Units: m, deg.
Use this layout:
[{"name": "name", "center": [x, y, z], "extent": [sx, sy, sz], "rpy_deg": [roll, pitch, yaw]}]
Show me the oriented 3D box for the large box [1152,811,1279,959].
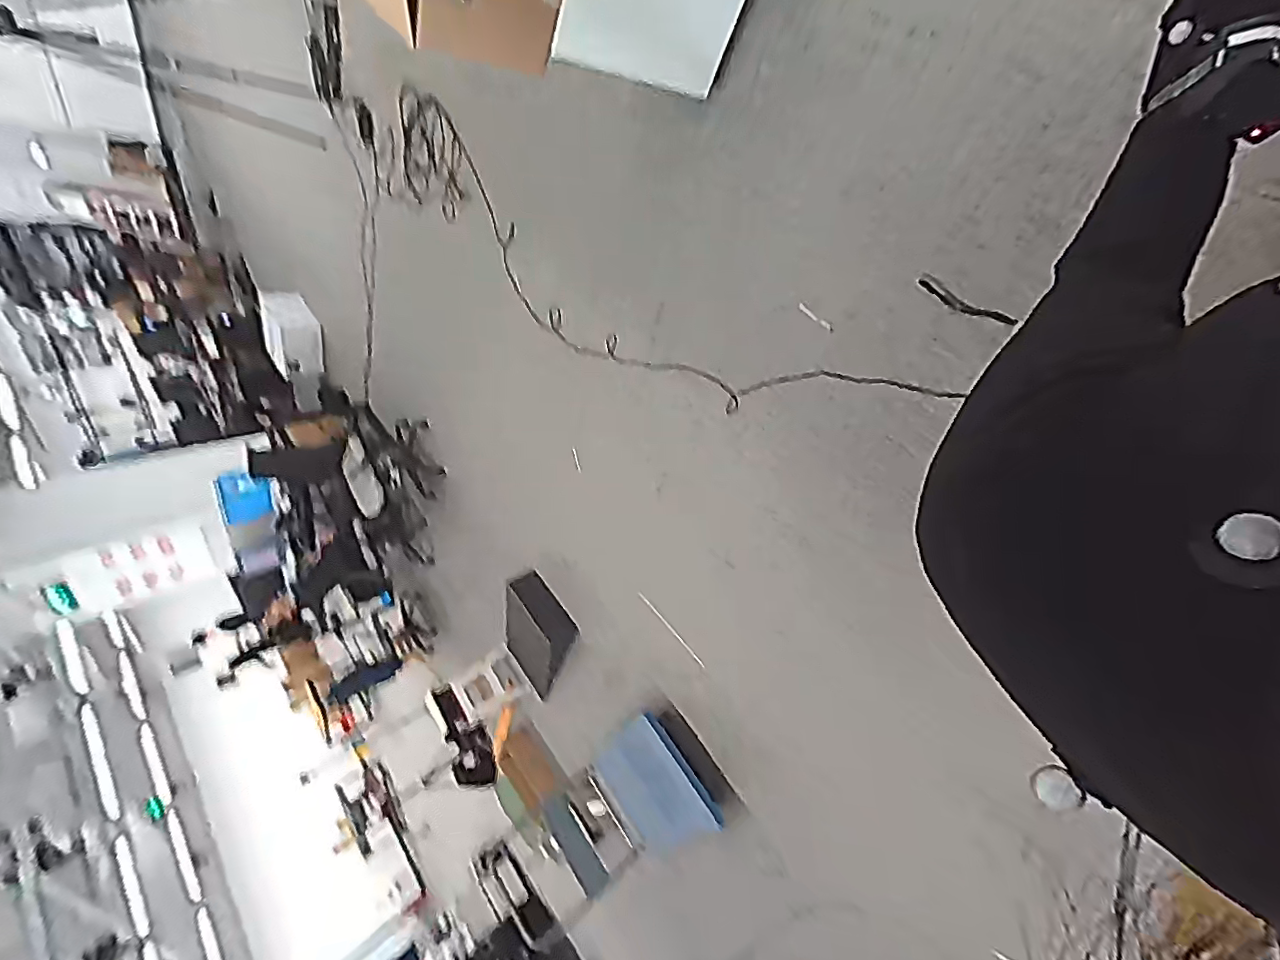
[{"name": "large box", "center": [1.069, 0.685, 0.753], "extent": [0.320, 0.320, 0.408], "rpy_deg": [51, 137, 27]}]
